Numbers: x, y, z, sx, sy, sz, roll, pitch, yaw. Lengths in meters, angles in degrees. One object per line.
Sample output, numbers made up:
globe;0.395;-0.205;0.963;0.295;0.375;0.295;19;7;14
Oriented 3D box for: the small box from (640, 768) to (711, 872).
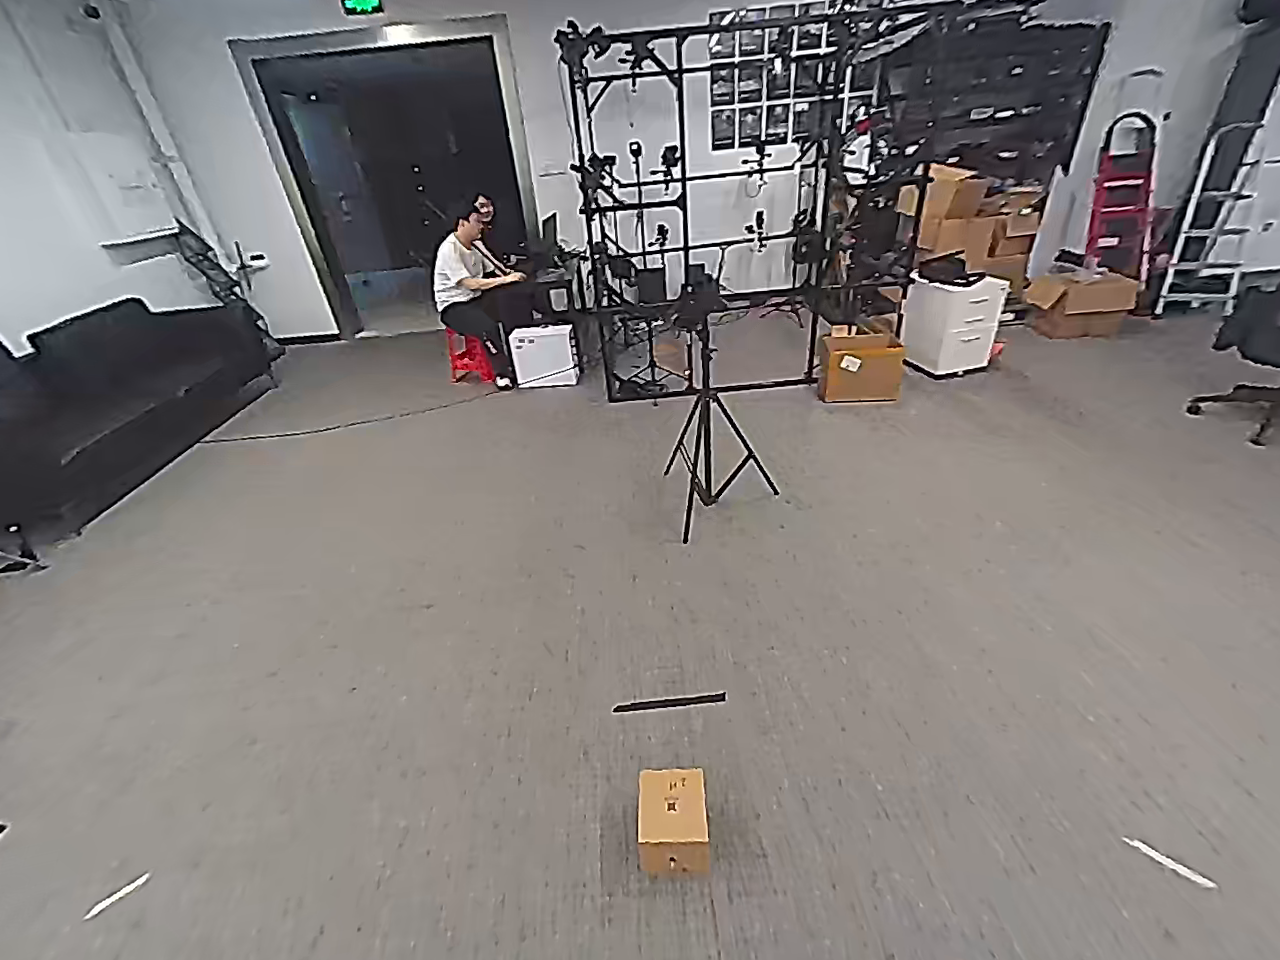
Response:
small box;0.091;0.857;1.359;0.168;0.176;0.179;-3;32;3
